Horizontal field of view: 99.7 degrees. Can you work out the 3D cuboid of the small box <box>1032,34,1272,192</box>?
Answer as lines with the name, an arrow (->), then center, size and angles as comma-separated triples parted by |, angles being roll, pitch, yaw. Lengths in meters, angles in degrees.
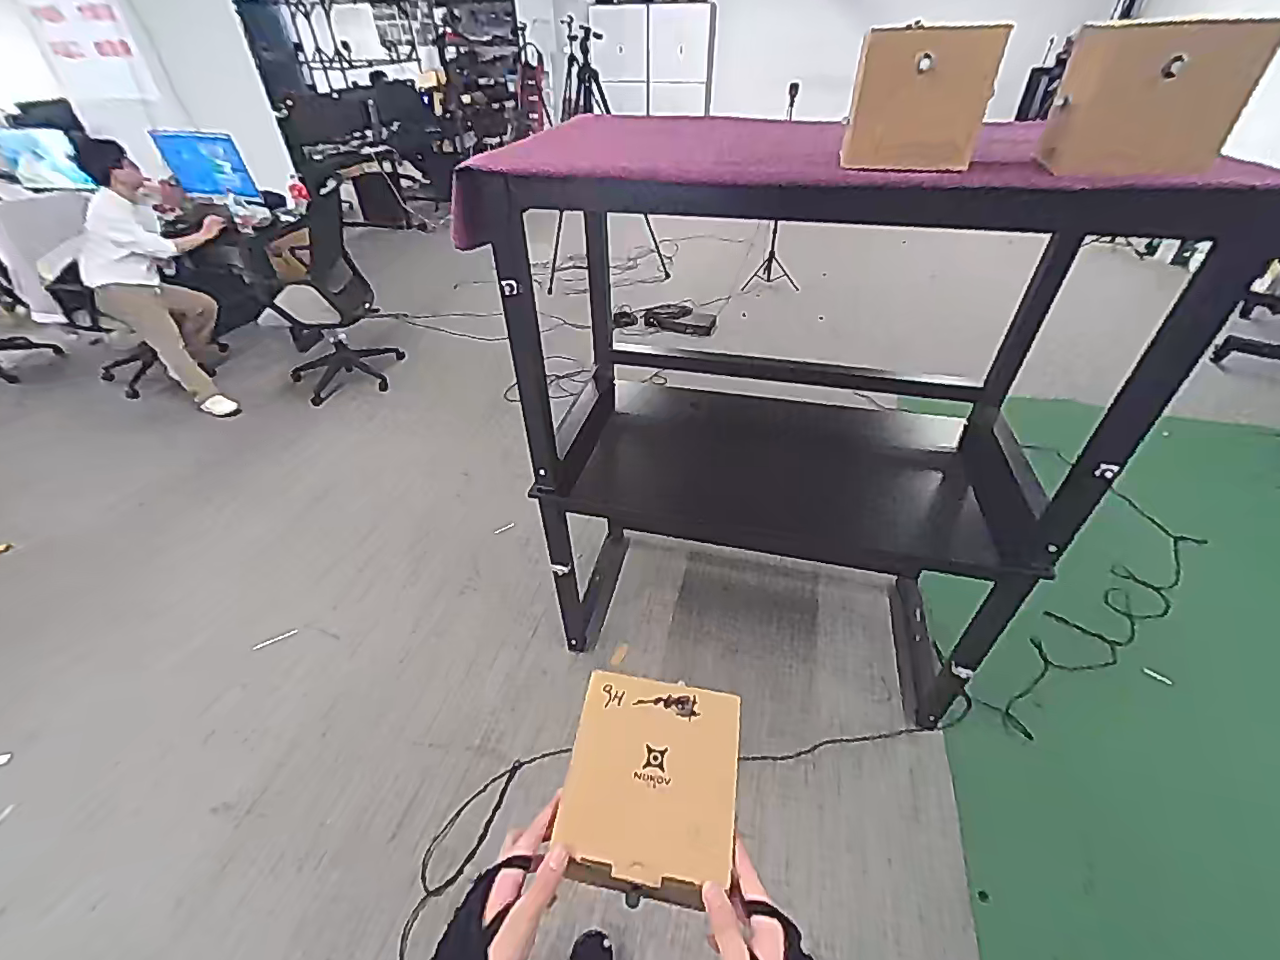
small box -> 0.689, -0.516, 0.763 | 0.179, 0.176, 0.168 | 11, 42, 15

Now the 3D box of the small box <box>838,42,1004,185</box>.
small box -> 0.413, -0.561, 0.829 | 0.179, 0.176, 0.168 | 8, 39, 13

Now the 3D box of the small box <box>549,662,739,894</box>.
small box -> 0.011, 0.329, 0.594 | 0.168, 0.176, 0.179 | 8, 48, 6
